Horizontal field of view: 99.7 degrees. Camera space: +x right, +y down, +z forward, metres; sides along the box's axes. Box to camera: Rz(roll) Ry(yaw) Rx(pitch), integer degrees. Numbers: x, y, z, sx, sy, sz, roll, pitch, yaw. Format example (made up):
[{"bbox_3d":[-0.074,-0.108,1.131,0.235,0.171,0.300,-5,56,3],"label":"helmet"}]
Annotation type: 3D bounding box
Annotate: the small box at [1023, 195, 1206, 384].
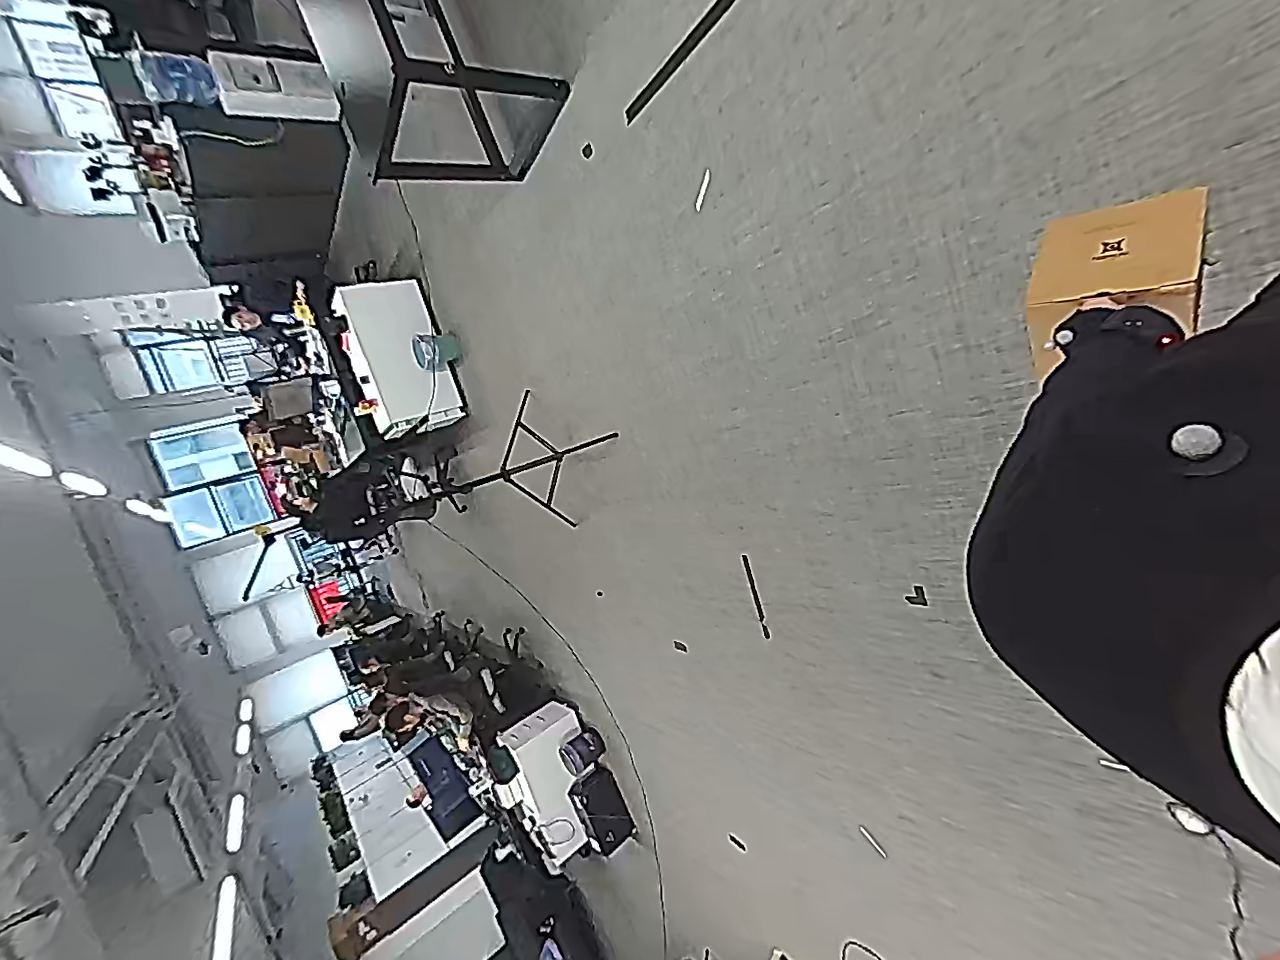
[{"bbox_3d":[0.654,-0.245,0.747,0.168,0.179,0.176,6,149,45],"label":"small box"}]
